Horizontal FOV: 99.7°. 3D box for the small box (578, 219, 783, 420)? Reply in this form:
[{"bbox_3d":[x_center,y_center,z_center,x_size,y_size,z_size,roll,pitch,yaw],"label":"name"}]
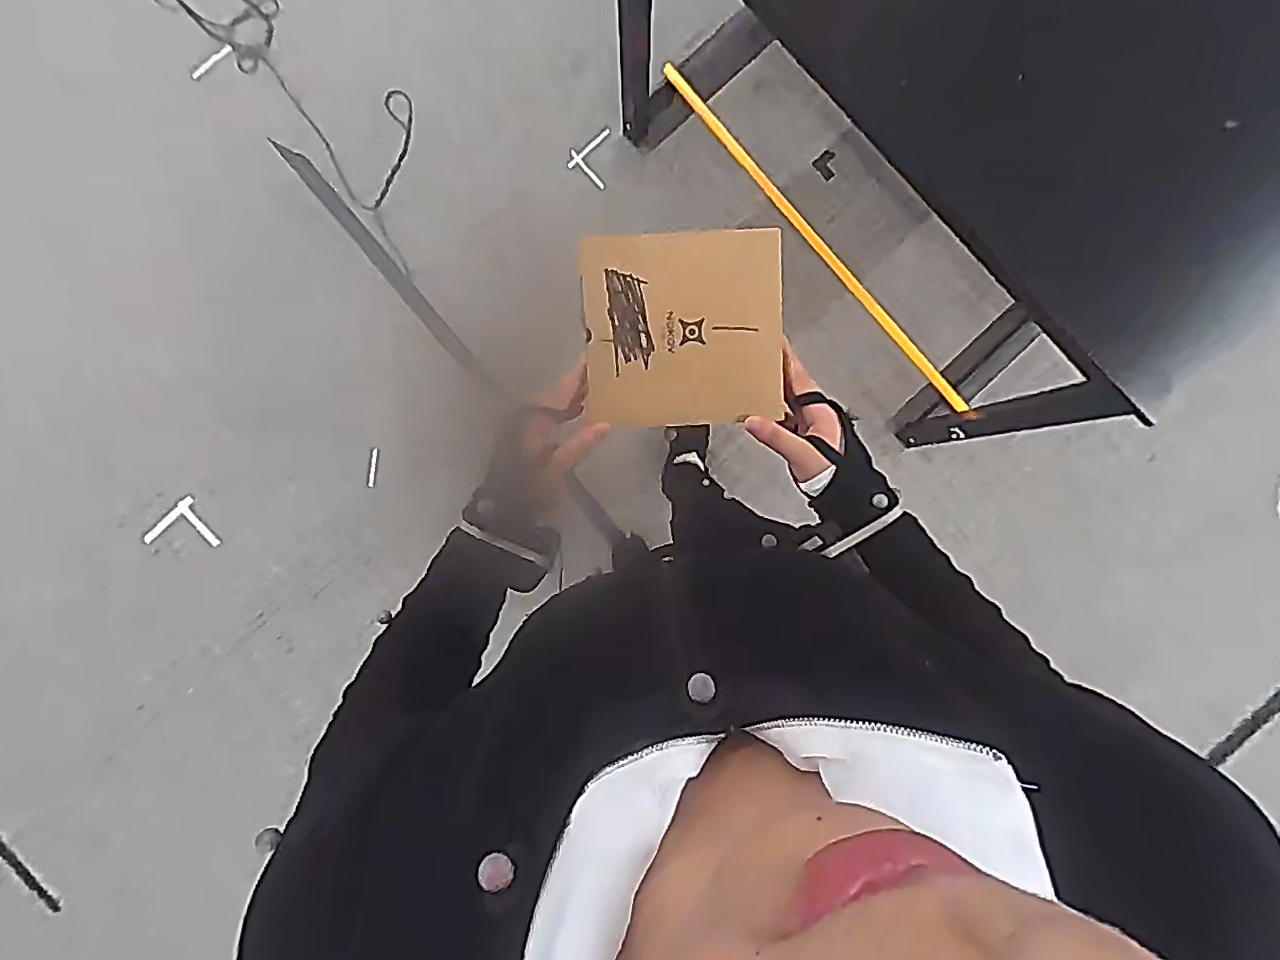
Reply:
[{"bbox_3d":[0.037,-0.147,0.549,0.179,0.176,0.168,-3,97,0],"label":"small box"}]
